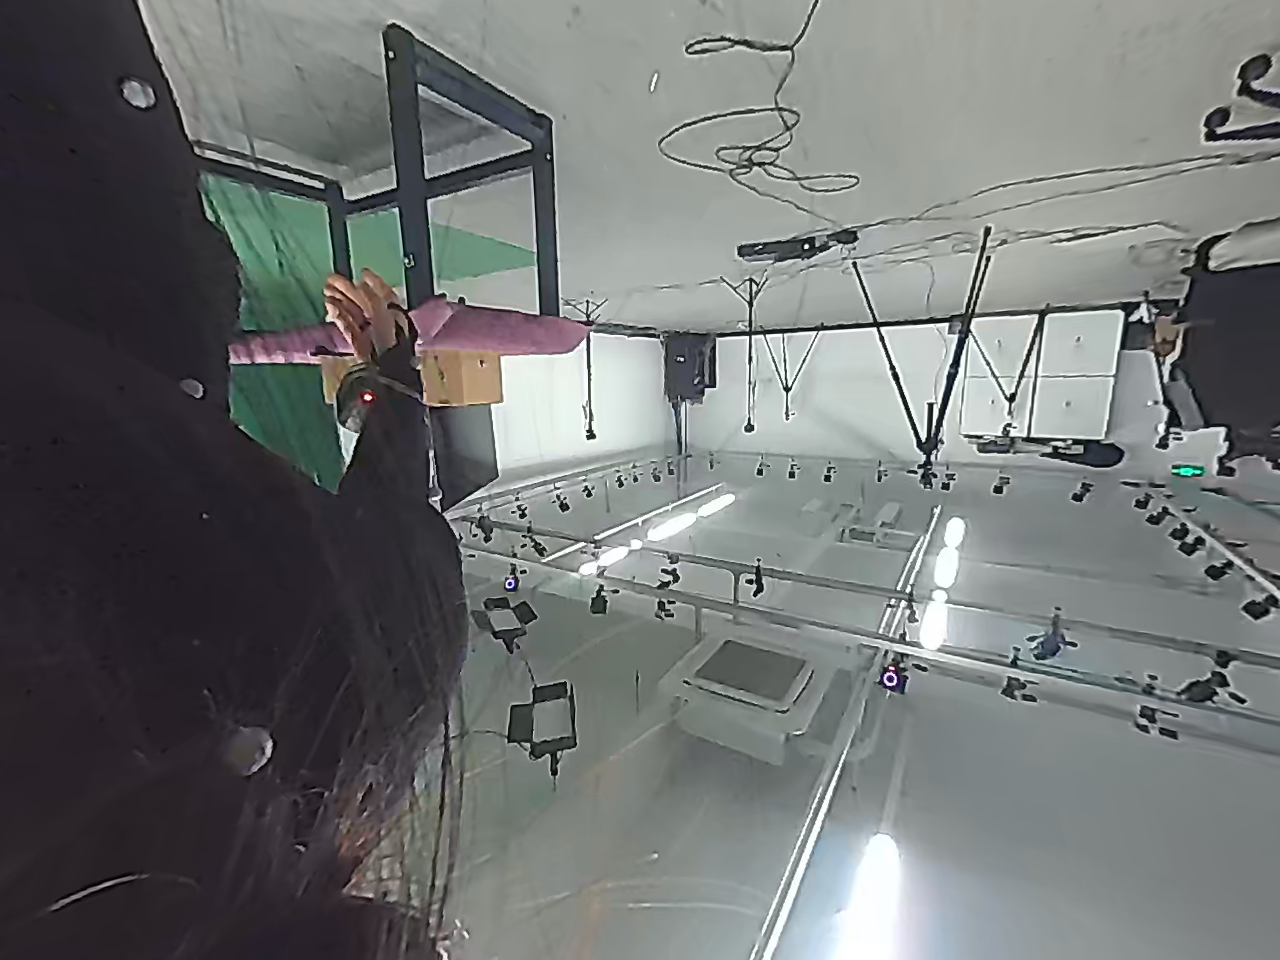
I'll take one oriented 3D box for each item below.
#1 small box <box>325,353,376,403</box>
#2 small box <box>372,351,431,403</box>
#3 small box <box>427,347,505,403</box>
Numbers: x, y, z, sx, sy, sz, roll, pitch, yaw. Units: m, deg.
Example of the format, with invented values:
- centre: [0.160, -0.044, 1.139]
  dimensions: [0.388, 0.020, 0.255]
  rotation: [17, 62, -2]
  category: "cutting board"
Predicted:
- centre: [-1.016, -0.373, 1.966]
  dimensions: [0.179, 0.176, 0.168]
  rotation: [4, -168, 26]
  category: "small box"
- centre: [-0.786, -0.354, 1.848]
  dimensions: [0.168, 0.176, 0.179]
  rotation: [6, -168, 34]
  category: "small box"
- centre: [-0.553, -0.333, 1.715]
  dimensions: [0.168, 0.176, 0.179]
  rotation: [5, -168, 28]
  category: "small box"
